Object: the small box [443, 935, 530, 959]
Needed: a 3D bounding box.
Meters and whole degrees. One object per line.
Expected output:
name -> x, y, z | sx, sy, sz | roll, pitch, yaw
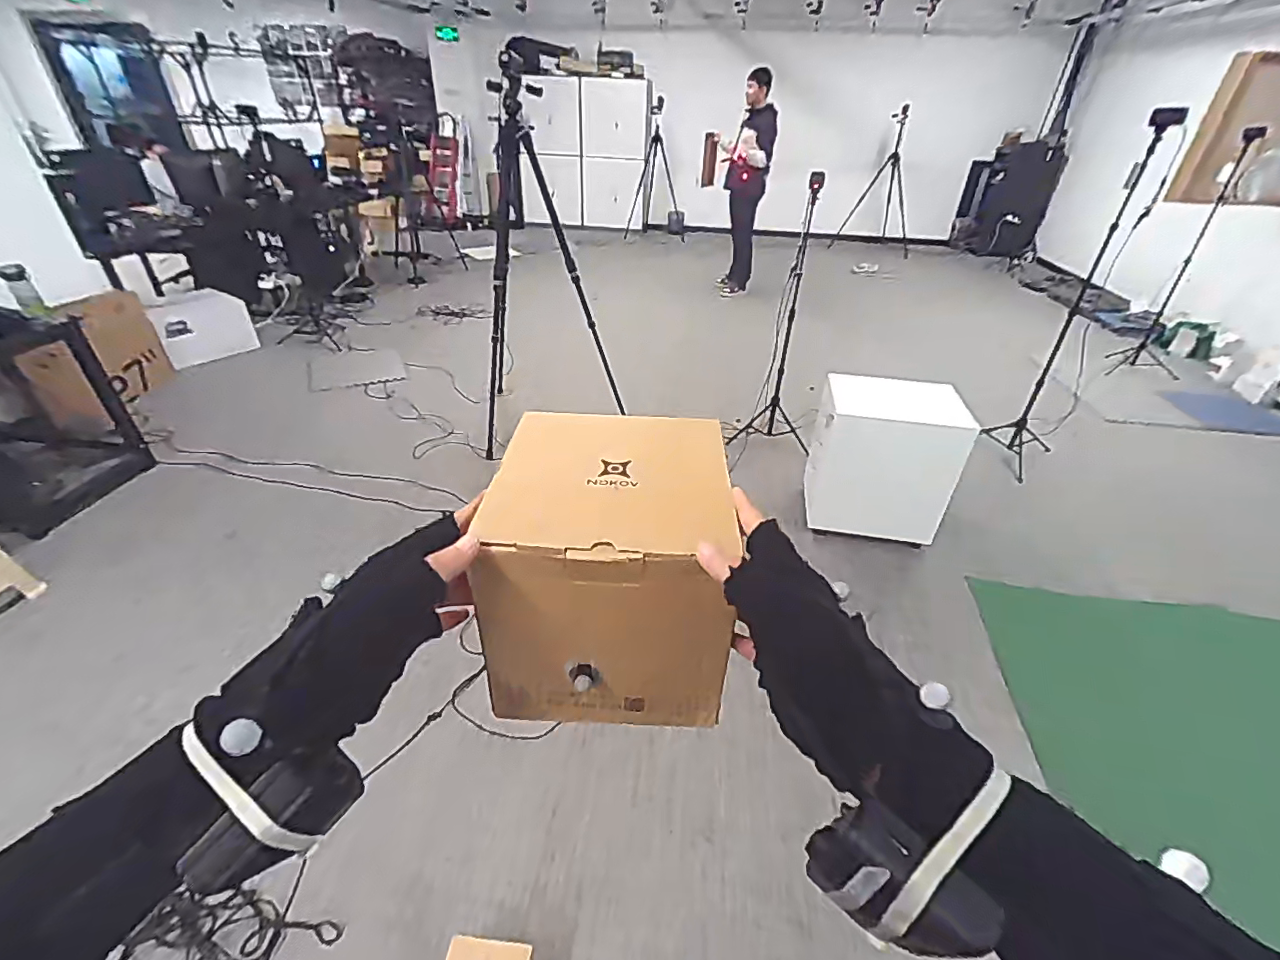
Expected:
small box -> -0.304, 1.021, 1.038 | 0.168, 0.176, 0.179 | 5, 34, 4
